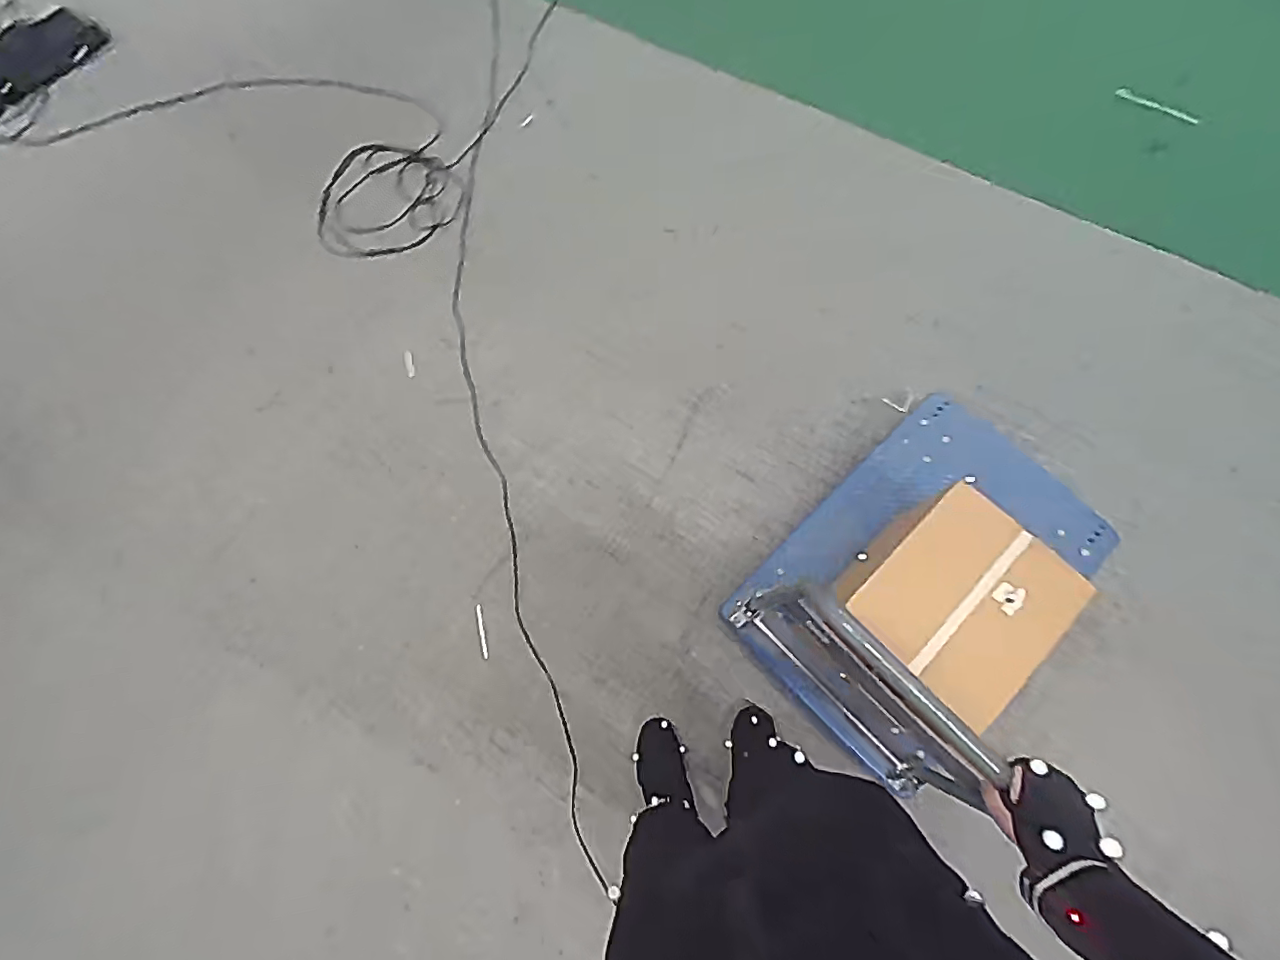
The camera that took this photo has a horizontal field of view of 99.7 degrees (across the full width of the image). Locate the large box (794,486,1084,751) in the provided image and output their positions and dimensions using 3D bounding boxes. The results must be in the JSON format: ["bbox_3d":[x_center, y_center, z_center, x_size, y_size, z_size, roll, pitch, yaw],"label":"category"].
[{"bbox_3d":[0.604,0.293,1.161,0.408,0.320,0.320,-42,76,-13],"label":"large box"}]
